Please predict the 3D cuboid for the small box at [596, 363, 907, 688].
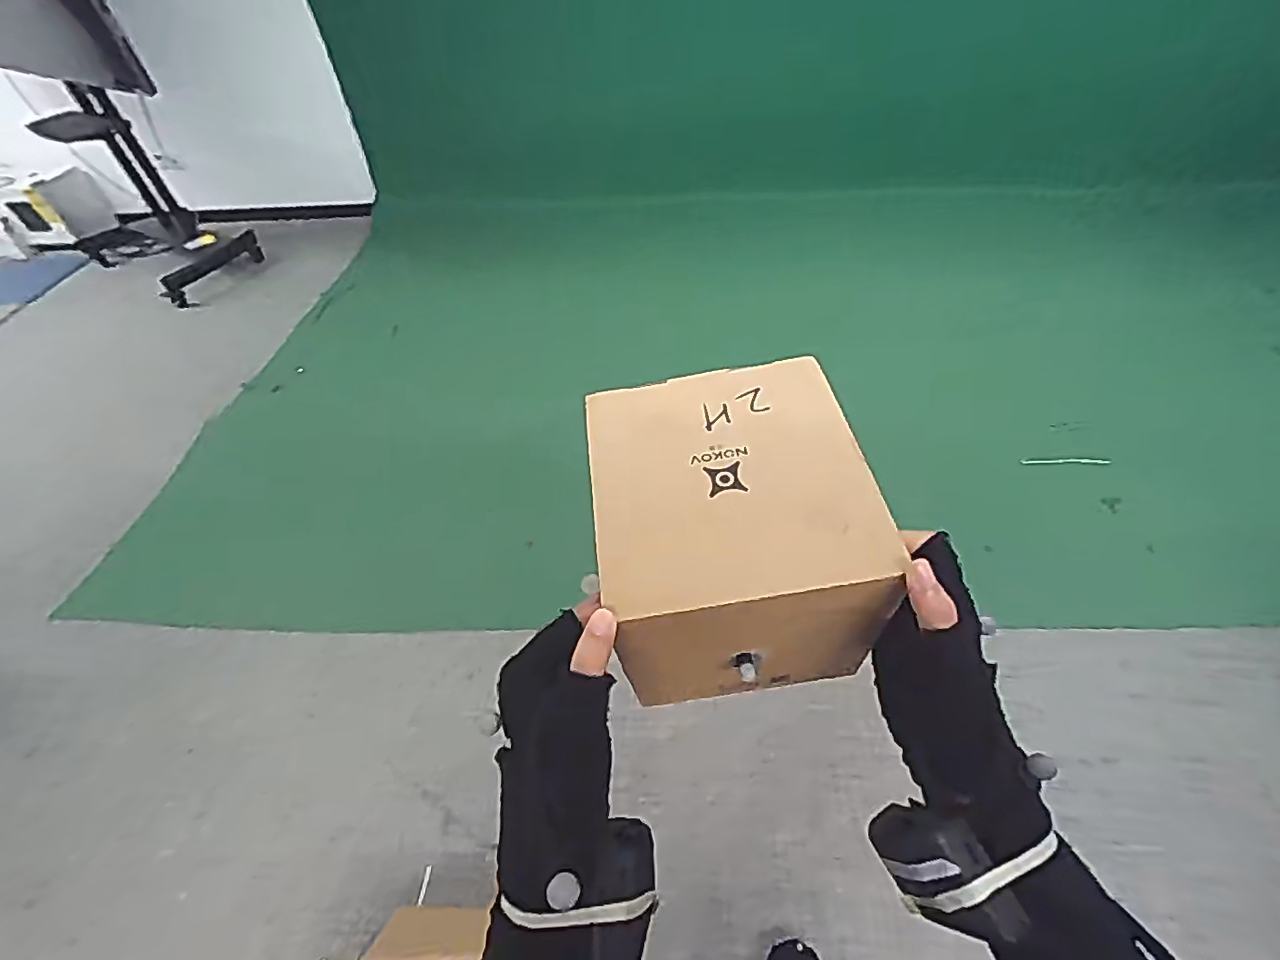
[{"bbox_3d":[0.066,0.044,0.406,0.168,0.176,0.179,-9,53,1],"label":"small box"}]
